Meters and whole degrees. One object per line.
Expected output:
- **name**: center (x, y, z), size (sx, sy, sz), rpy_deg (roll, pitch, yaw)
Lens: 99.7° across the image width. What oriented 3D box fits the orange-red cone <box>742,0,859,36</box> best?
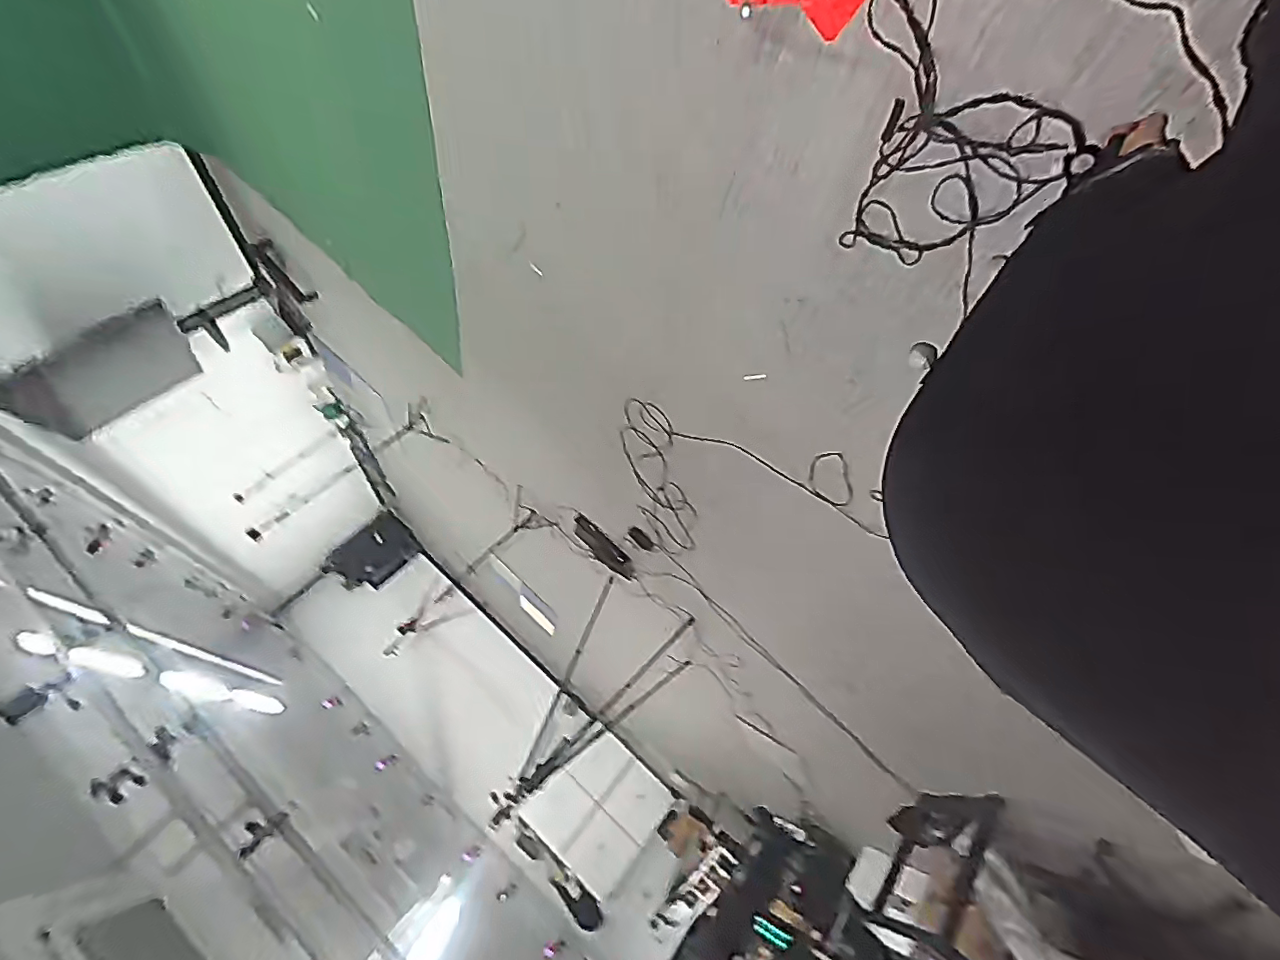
- **orange-red cone**: center (0.256, -0.911, 0.962), size (0.198, 0.360, 0.199), rpy_deg (52, 153, -7)
